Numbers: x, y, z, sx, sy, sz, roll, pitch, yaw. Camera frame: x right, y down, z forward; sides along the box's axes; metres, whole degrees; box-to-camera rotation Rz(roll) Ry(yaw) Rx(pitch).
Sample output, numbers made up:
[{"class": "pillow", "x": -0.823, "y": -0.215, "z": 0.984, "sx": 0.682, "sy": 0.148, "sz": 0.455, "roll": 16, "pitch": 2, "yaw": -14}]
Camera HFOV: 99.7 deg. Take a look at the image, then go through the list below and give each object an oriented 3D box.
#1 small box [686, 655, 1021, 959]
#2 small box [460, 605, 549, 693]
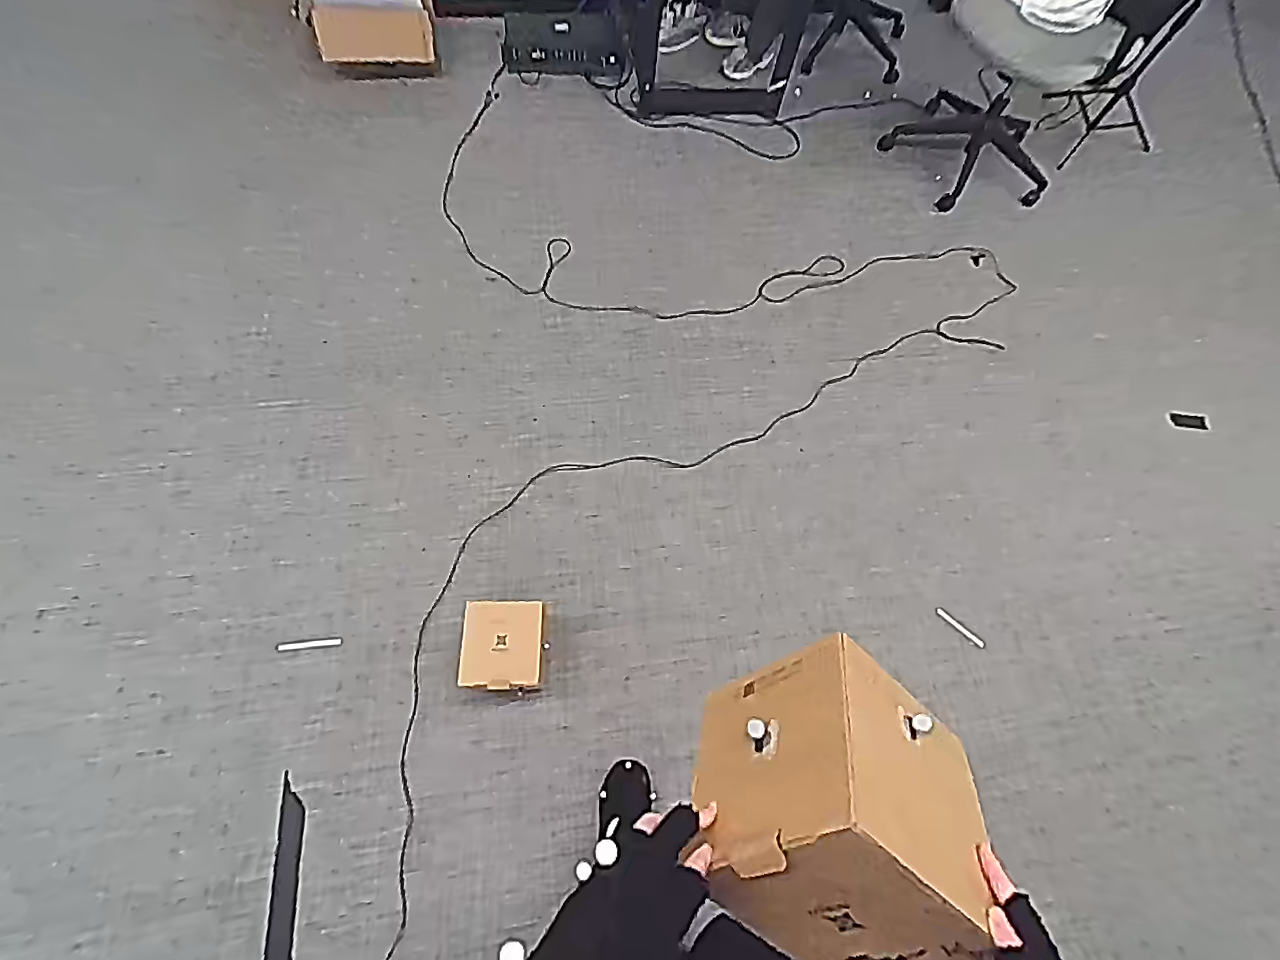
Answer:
[{"class": "small box", "x": 0.167, "y": 0.275, "z": 0.461, "sx": 0.179, "sy": 0.168, "sz": 0.176, "roll": 42, "pitch": 33, "yaw": -10}, {"class": "small box", "x": -0.294, "y": 0.384, "z": 1.215, "sx": 0.168, "sy": 0.176, "sz": 0.179, "roll": 1, "pitch": 66, "yaw": -5}]
